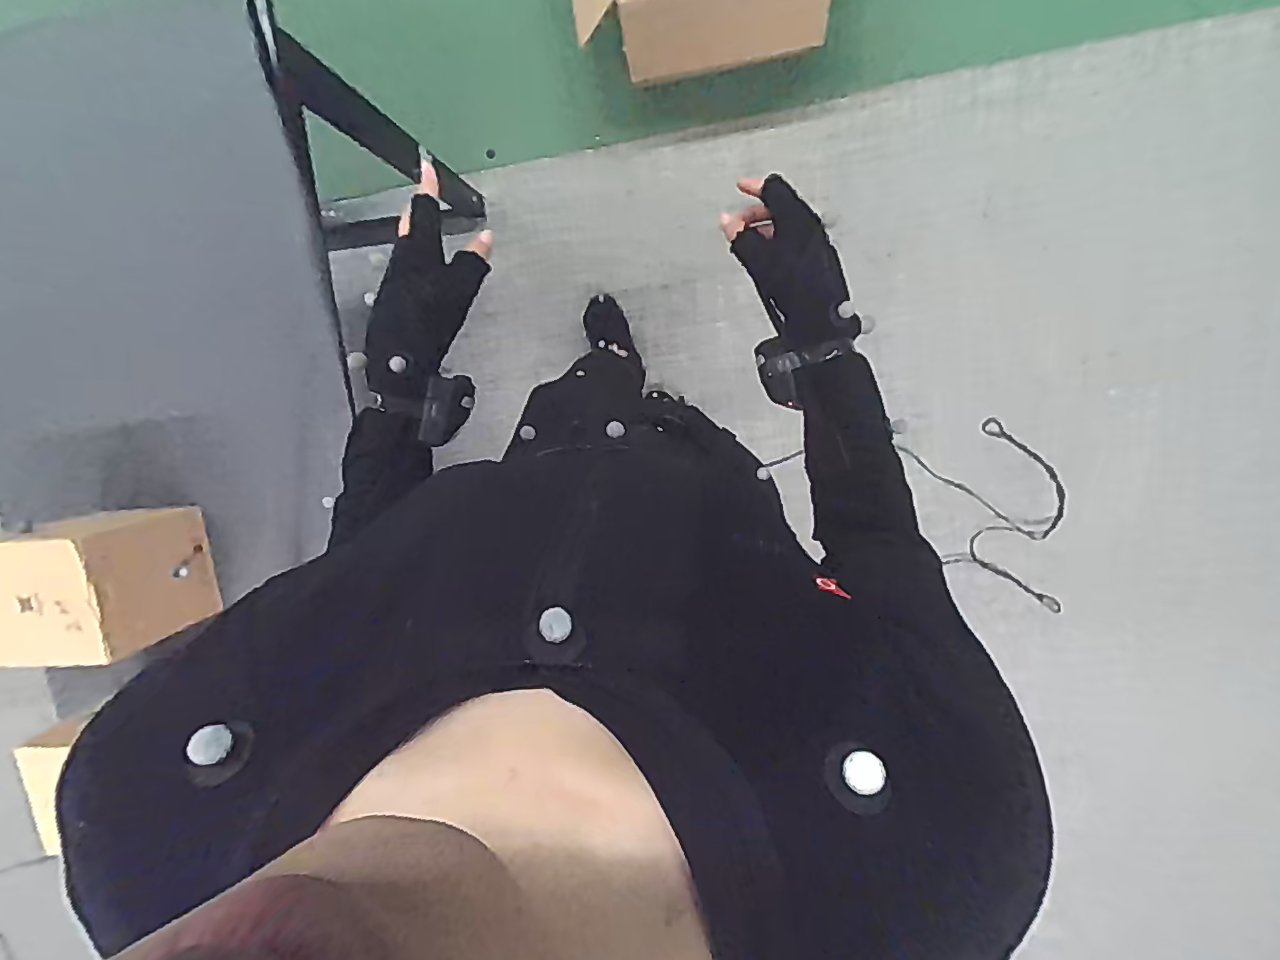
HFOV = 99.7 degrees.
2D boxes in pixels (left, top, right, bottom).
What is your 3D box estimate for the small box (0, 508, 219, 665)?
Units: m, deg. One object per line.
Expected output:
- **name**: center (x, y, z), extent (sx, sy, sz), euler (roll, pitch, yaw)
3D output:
- **small box**: center (-0.743, 0.139, 0.747), extent (0.179, 0.176, 0.168), euler (-4, 101, 6)
